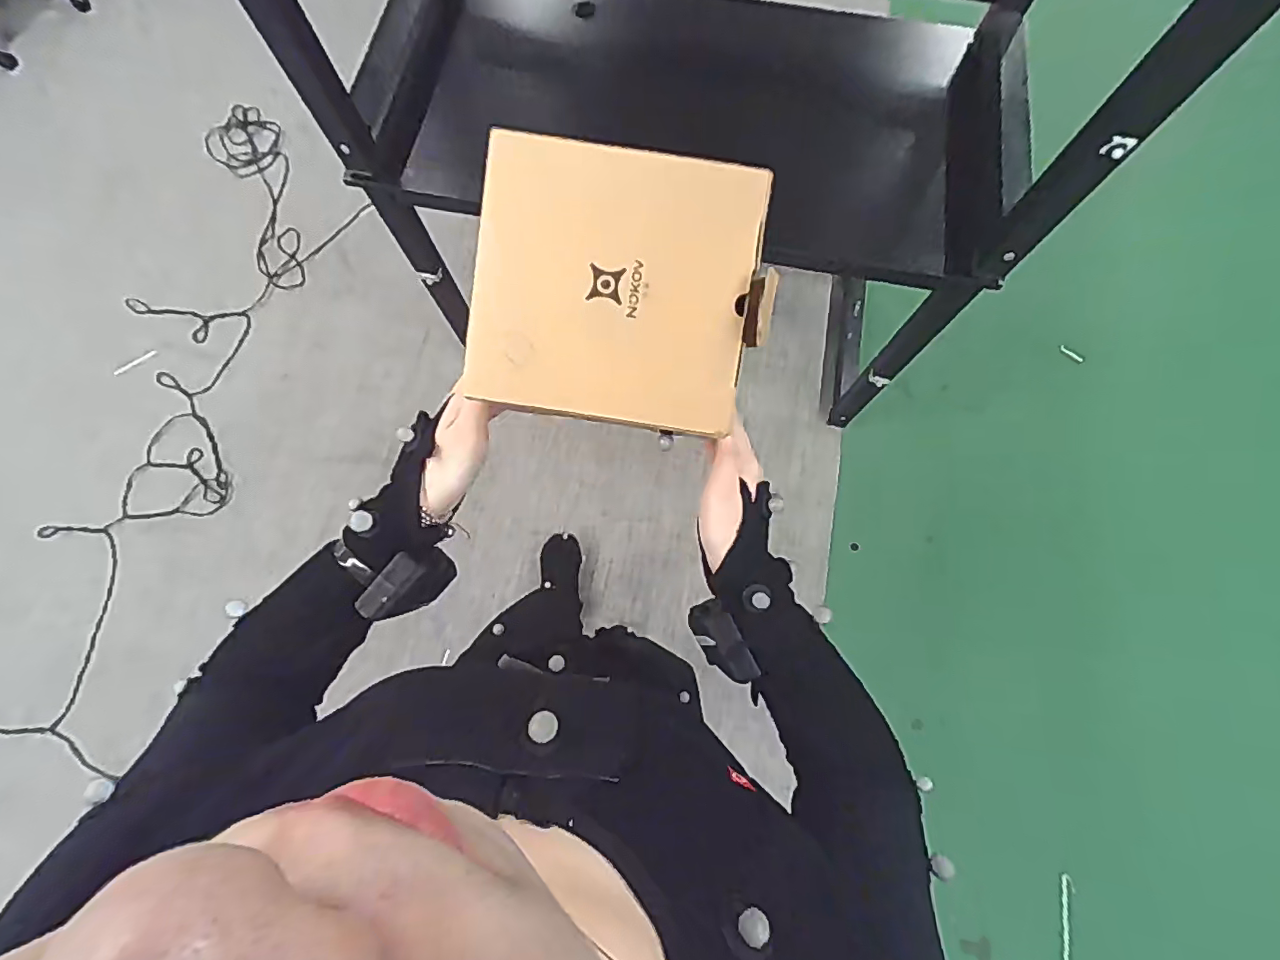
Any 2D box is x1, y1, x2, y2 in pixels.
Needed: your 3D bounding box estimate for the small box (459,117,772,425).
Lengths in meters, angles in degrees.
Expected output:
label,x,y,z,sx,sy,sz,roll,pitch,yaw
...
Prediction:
label,x,y,z,sx,sy,sz,roll,pitch,yaw
small box,-0.016,-0.135,0.414,0.179,0.176,0.168,9,95,0
